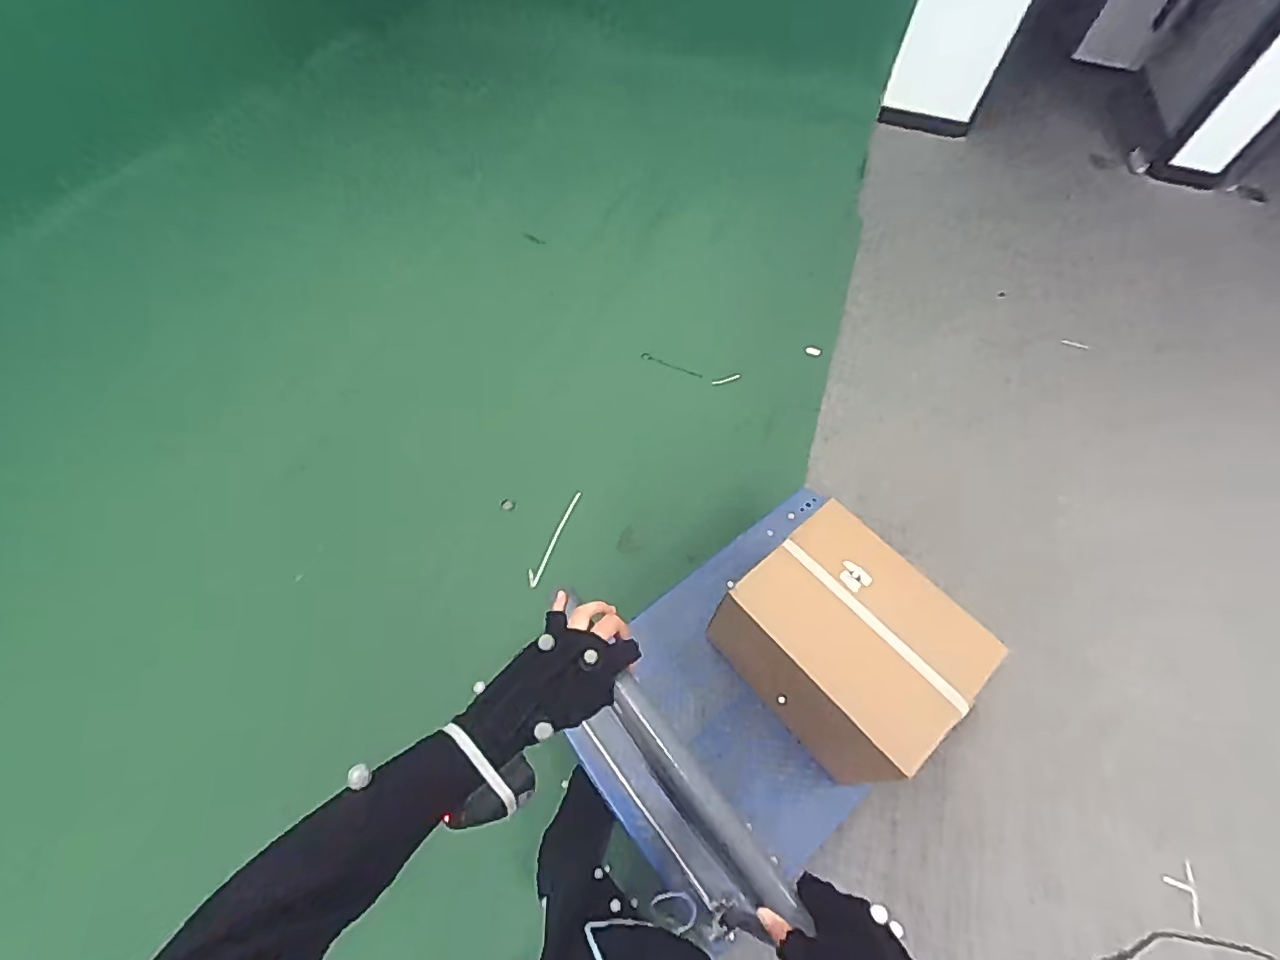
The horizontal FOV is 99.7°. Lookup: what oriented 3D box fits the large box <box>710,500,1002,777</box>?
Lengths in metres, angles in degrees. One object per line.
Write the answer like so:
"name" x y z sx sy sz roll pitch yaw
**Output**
"large box" 0.405 0.328 1.112 0.320 0.320 0.408 -36 66 -22
